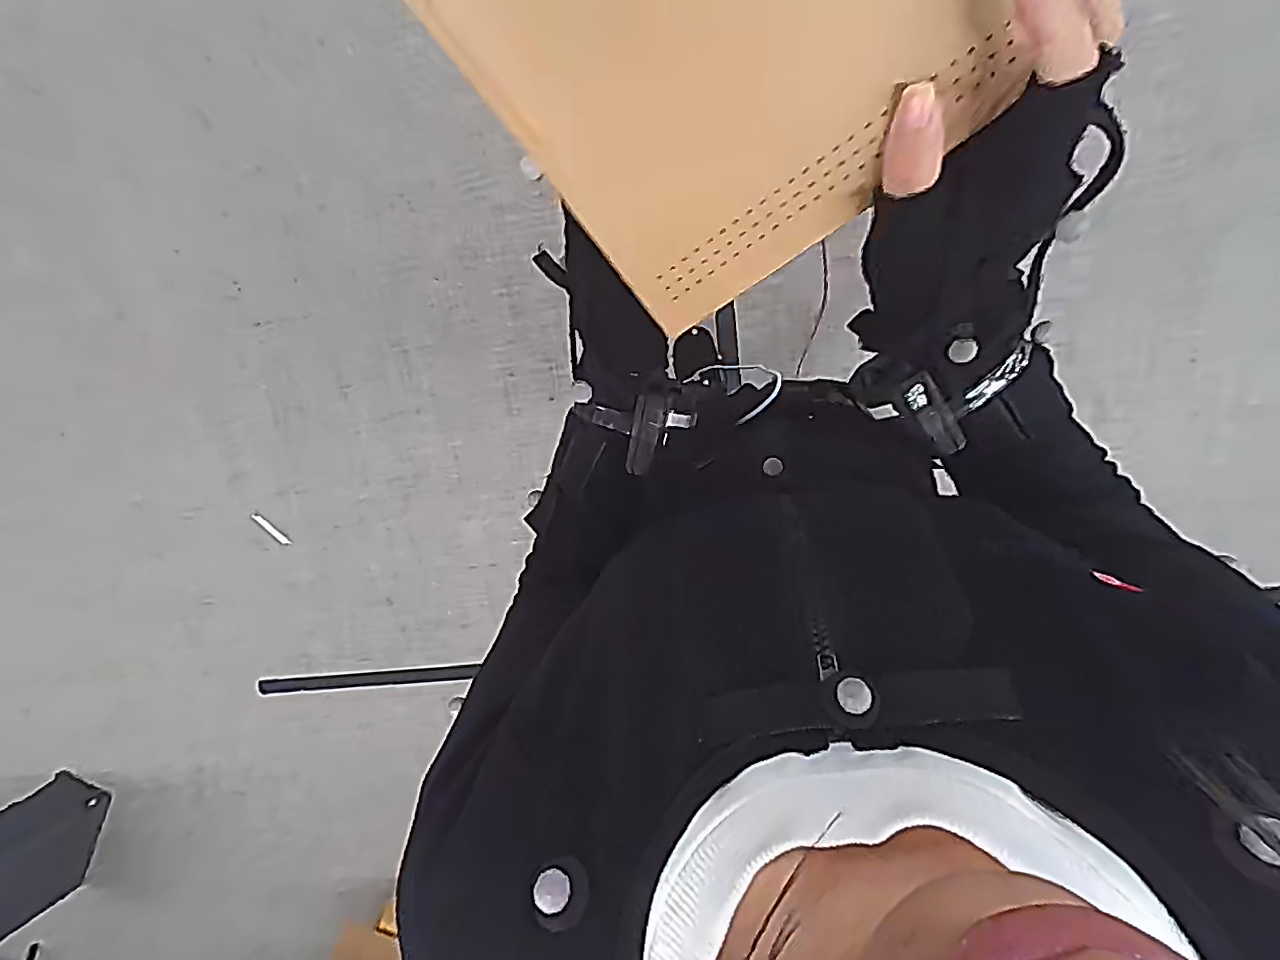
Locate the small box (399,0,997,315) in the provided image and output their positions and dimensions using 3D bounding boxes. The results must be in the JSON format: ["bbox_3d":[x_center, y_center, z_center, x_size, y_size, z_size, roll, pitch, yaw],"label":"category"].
[{"bbox_3d":[0.028,-0.215,0.255,0.179,0.168,0.176,-29,134,23],"label":"small box"}]
